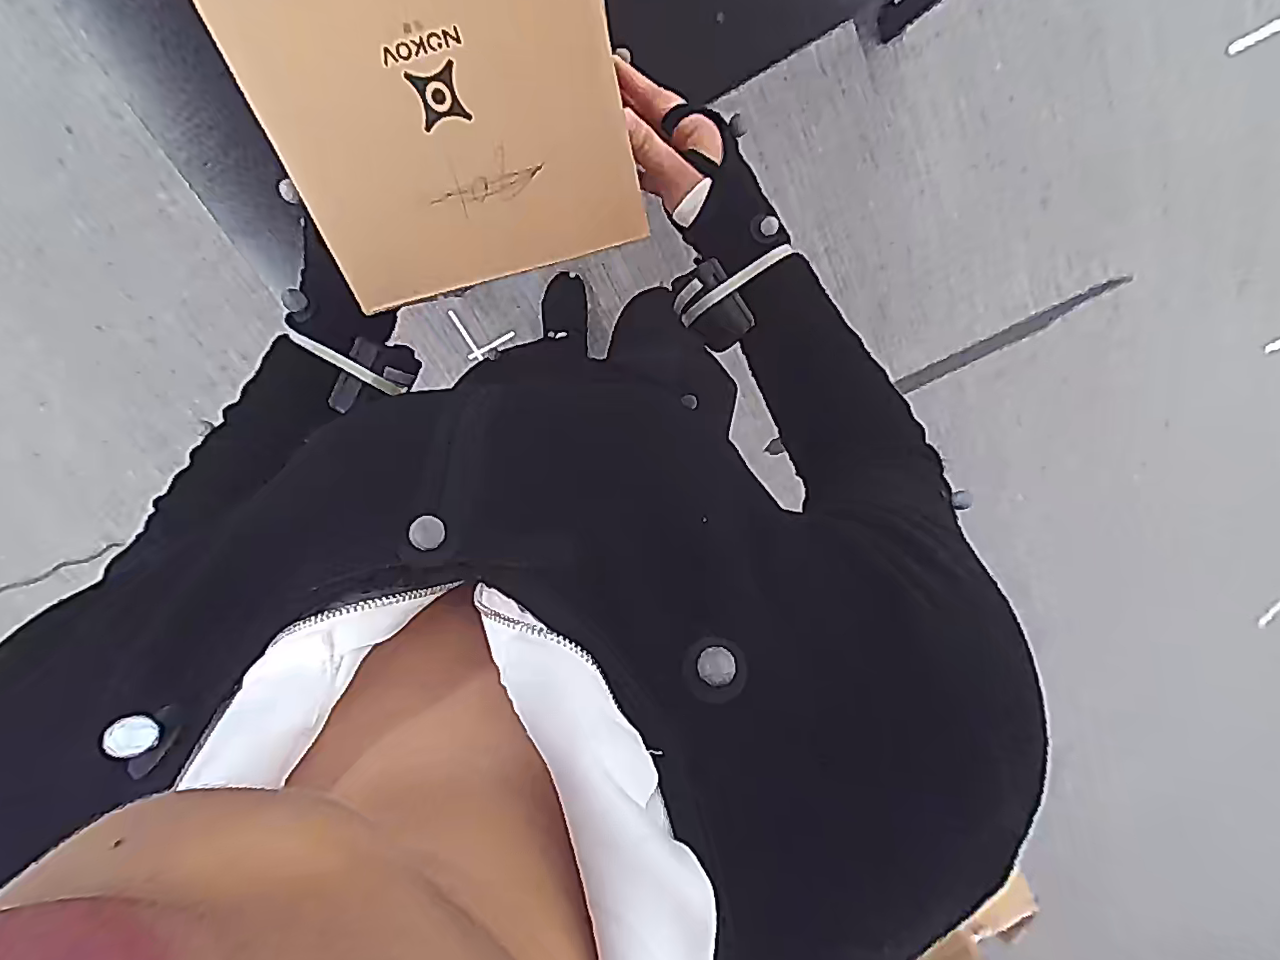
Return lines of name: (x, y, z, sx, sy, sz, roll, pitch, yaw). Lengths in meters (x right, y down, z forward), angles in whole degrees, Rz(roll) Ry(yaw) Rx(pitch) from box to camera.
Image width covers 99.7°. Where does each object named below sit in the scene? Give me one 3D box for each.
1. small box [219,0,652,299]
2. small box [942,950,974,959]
small box: (-0.098, -0.235, 0.318, 0.168, 0.176, 0.179, -14, 127, 5)
small box: (0.818, 1.339, 1.358, 0.179, 0.176, 0.168, -34, 106, 9)
